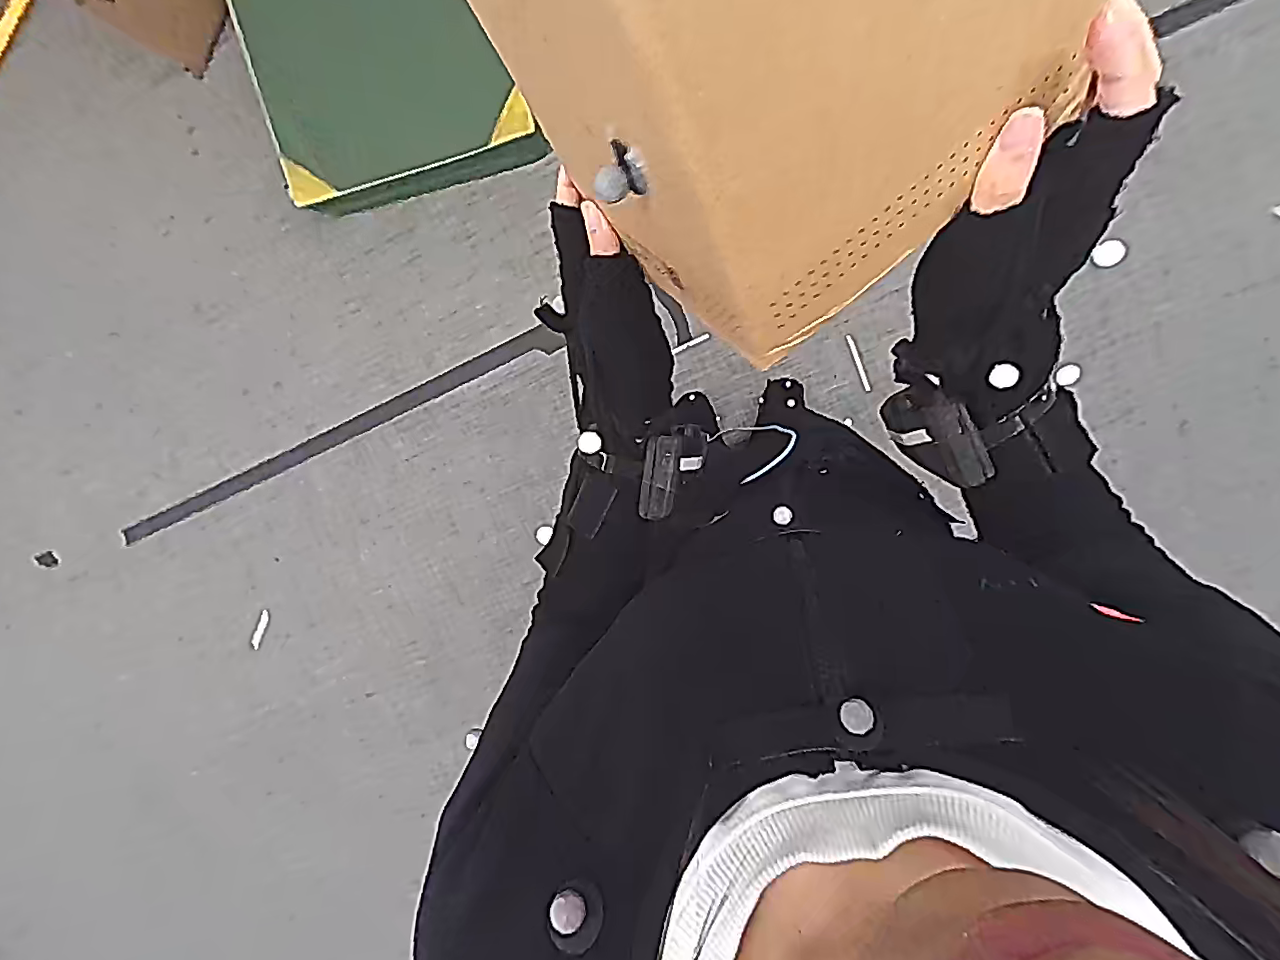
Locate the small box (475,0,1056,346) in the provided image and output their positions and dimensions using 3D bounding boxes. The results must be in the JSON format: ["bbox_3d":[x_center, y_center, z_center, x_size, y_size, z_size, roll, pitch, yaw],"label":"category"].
[{"bbox_3d":[0.053,-0.195,0.242,0.179,0.176,0.168,-37,51,5],"label":"small box"}]
